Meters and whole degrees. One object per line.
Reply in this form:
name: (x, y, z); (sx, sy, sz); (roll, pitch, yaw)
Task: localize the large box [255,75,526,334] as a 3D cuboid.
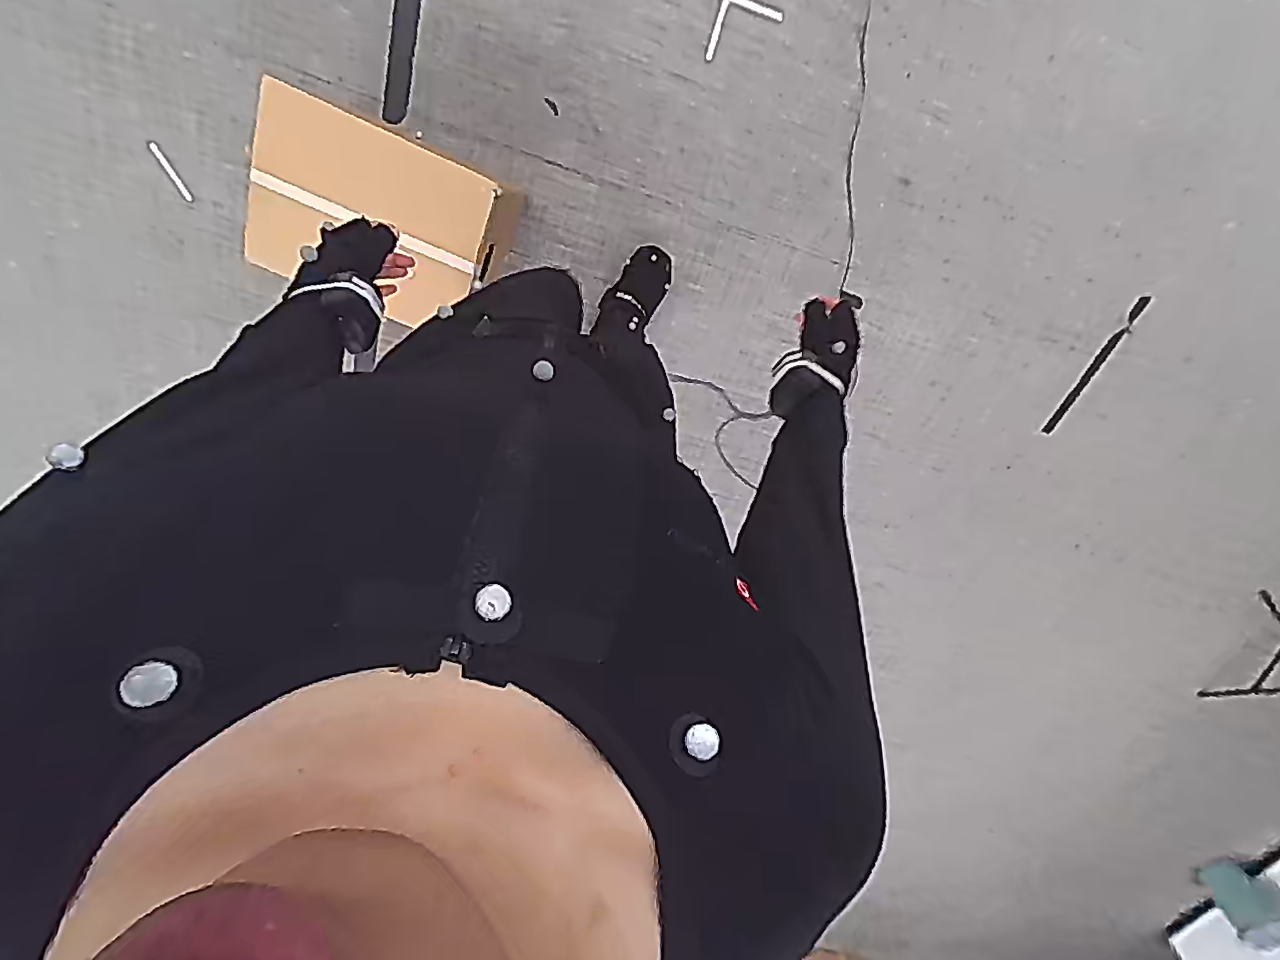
large box: (-0.491, -0.551, 1.126); (0.408, 0.320, 0.320); (20, 115, -13)
